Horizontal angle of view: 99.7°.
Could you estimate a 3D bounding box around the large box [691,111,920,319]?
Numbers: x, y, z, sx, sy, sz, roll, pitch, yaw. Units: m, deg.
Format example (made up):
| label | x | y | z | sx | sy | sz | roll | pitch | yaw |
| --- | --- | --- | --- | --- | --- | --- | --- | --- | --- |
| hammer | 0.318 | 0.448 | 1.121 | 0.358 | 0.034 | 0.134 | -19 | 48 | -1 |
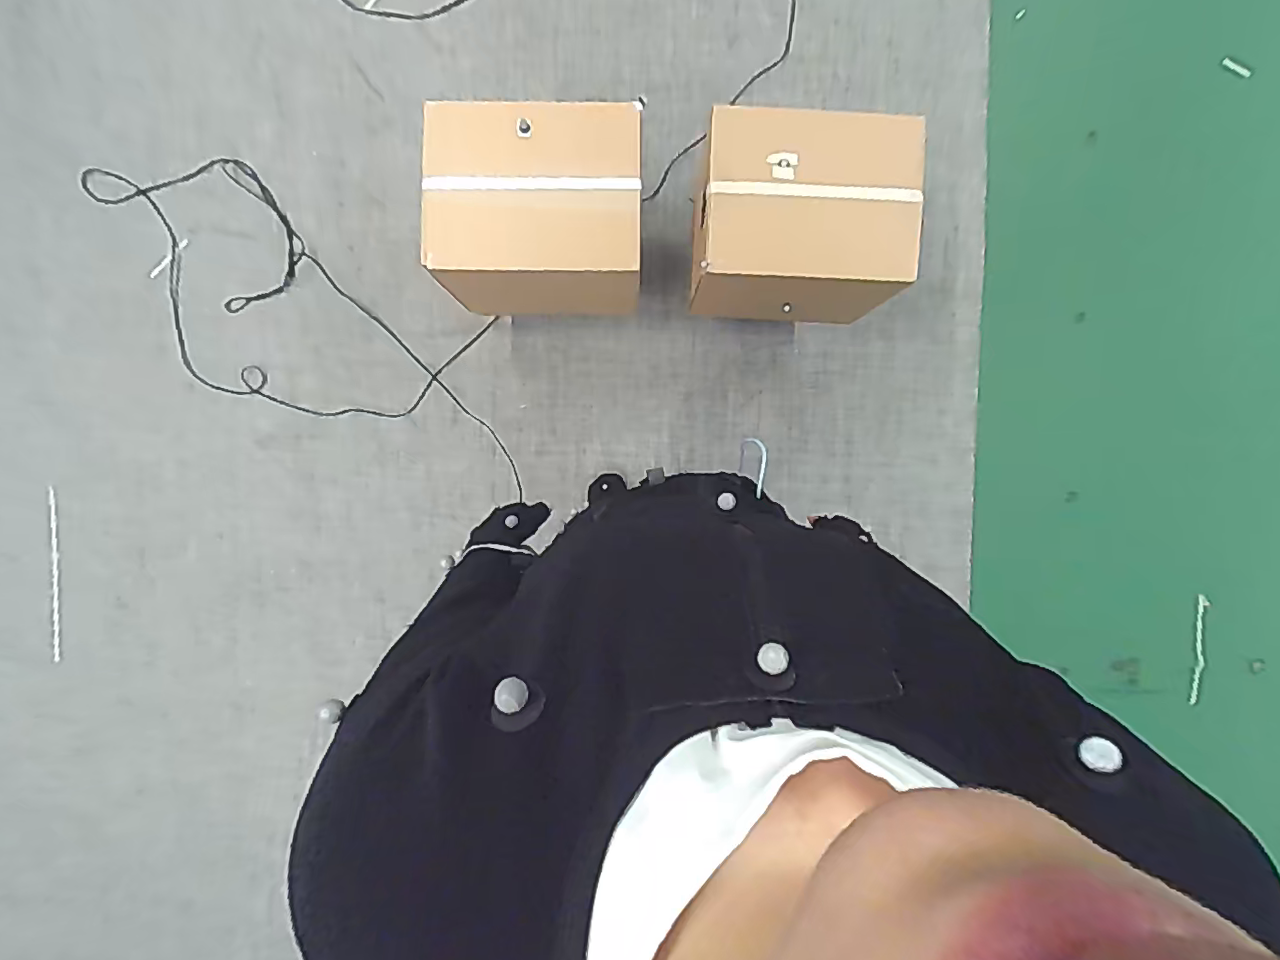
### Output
| label | x | y | z | sx | sy | sz | roll | pitch | yaw |
| --- | --- | --- | --- | --- | --- | --- | --- | --- | --- |
| large box | 0.331 | -0.547 | 1.178 | 0.408 | 0.320 | 0.320 | 3 | 91 | 0 |
